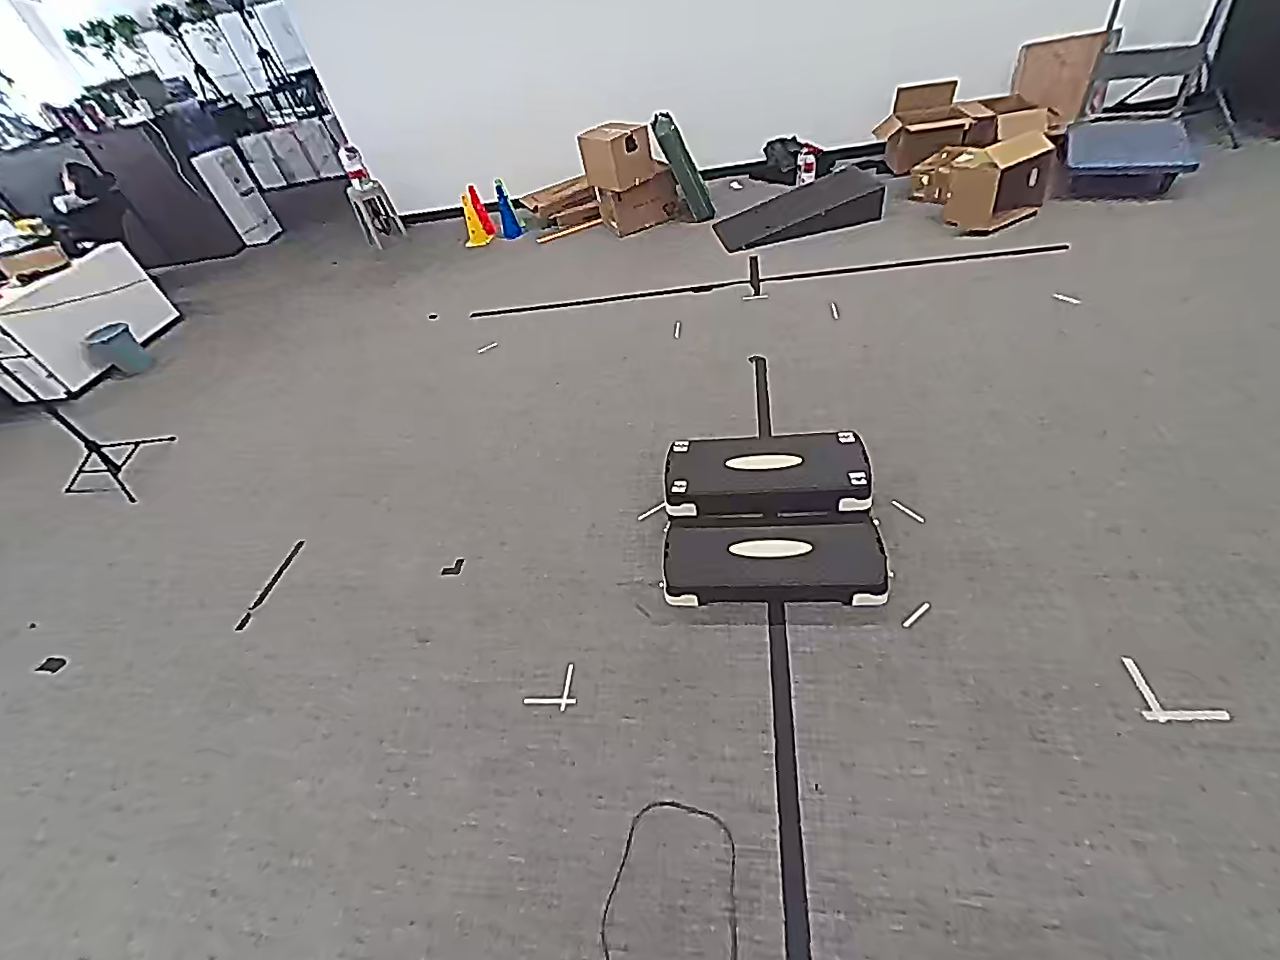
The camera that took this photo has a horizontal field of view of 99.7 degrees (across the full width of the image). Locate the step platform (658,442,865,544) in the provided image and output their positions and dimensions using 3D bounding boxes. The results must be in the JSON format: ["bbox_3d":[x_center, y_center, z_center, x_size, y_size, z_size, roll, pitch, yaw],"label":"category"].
[{"bbox_3d":[0.403,0.042,1.859,0.684,0.204,0.286,-3,45,9],"label":"step platform"}]
